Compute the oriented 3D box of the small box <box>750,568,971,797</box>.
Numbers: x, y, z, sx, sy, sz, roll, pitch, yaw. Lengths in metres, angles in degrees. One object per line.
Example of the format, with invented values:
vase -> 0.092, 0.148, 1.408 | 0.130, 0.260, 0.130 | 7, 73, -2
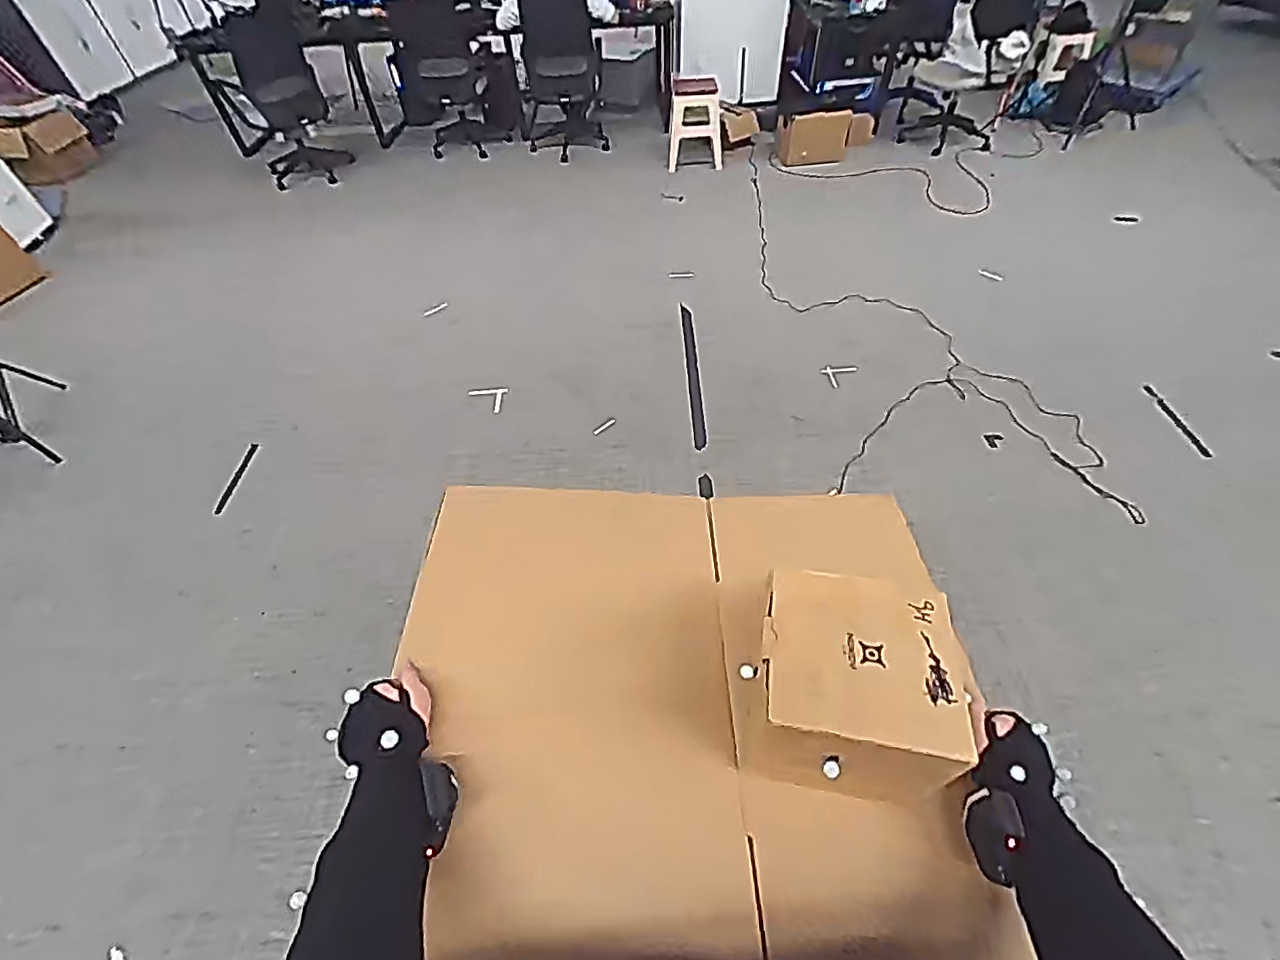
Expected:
small box -> 0.216, 0.218, 0.580 | 0.179, 0.176, 0.168 | 7, 49, 10
